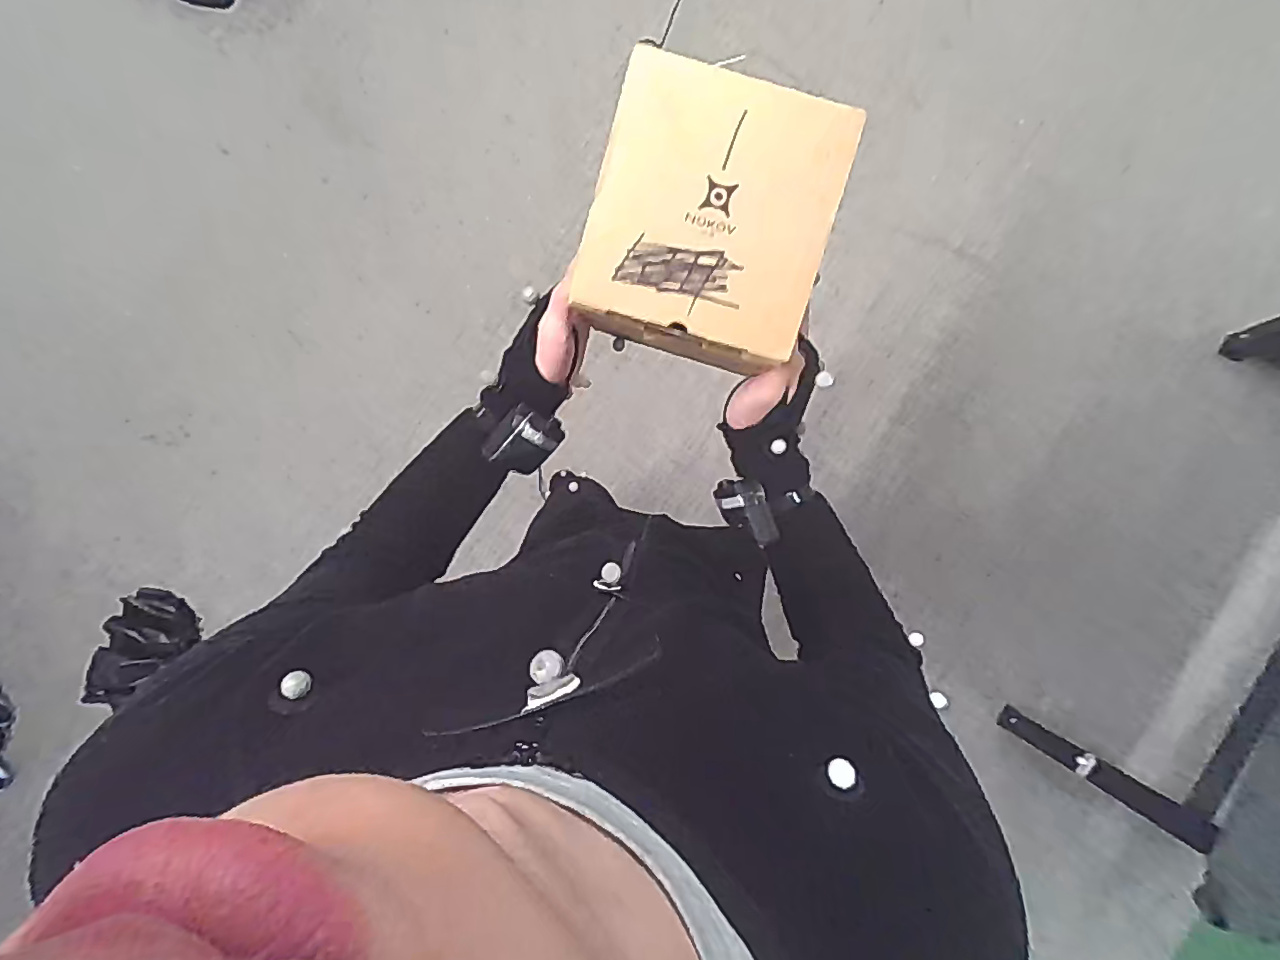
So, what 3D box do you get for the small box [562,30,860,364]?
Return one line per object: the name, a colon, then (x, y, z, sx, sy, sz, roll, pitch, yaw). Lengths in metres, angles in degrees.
small box: (0.050, -0.206, 0.451, 0.168, 0.176, 0.179, 17, 97, -1)
